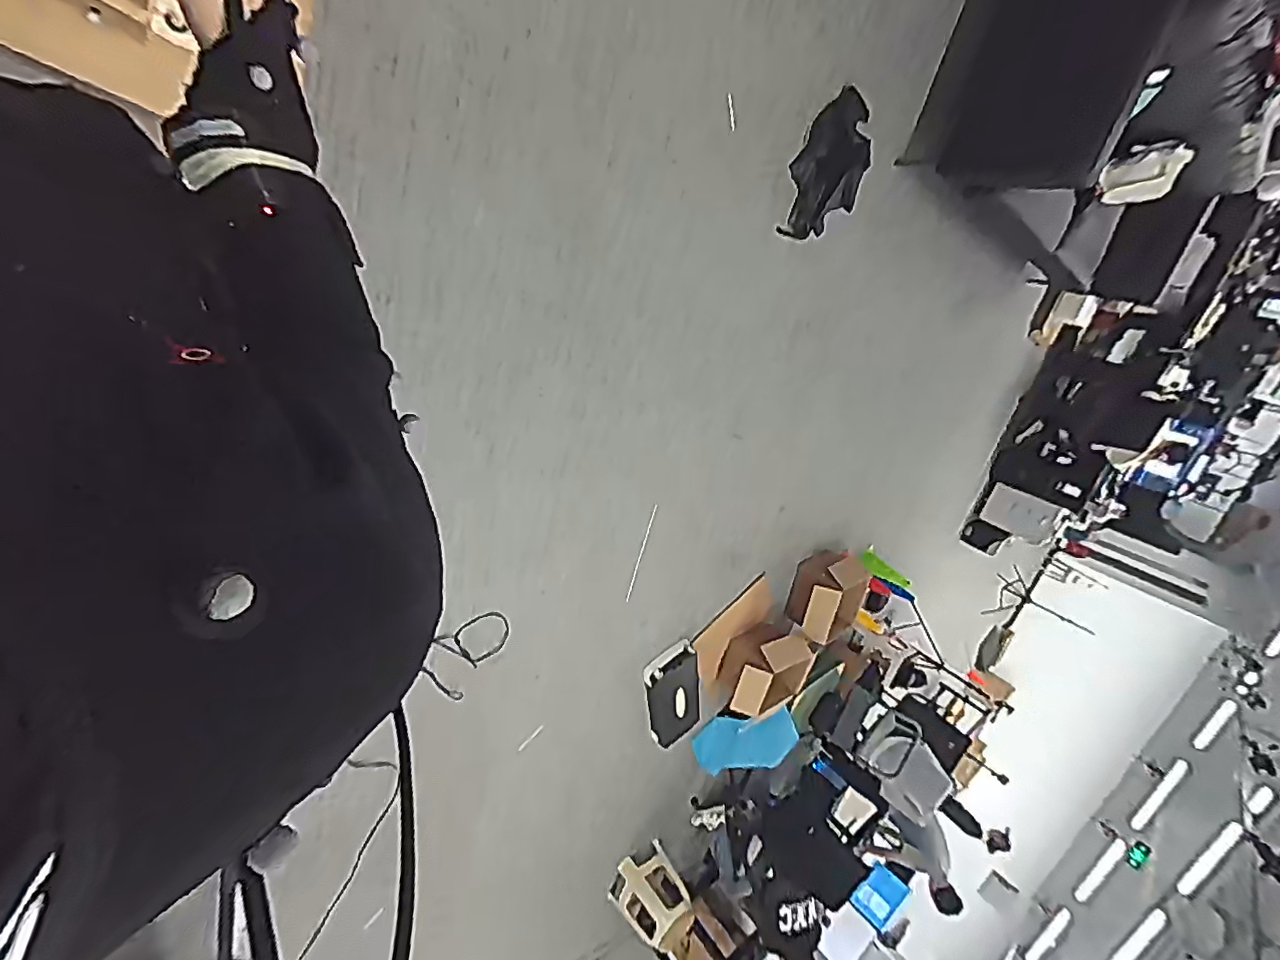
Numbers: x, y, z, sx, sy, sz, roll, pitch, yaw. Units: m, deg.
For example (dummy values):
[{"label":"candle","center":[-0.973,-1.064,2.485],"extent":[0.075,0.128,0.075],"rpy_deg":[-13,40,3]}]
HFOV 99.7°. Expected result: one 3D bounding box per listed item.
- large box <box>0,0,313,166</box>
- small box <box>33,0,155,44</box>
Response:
[{"label":"large box","center":[-0.717,-0.678,0.724],"extent":[0.408,0.320,0.320],"rpy_deg":[7,110,-47]},{"label":"small box","center":[-0.594,-0.579,0.537],"extent":[0.179,0.176,0.168],"rpy_deg":[10,106,-46]}]
